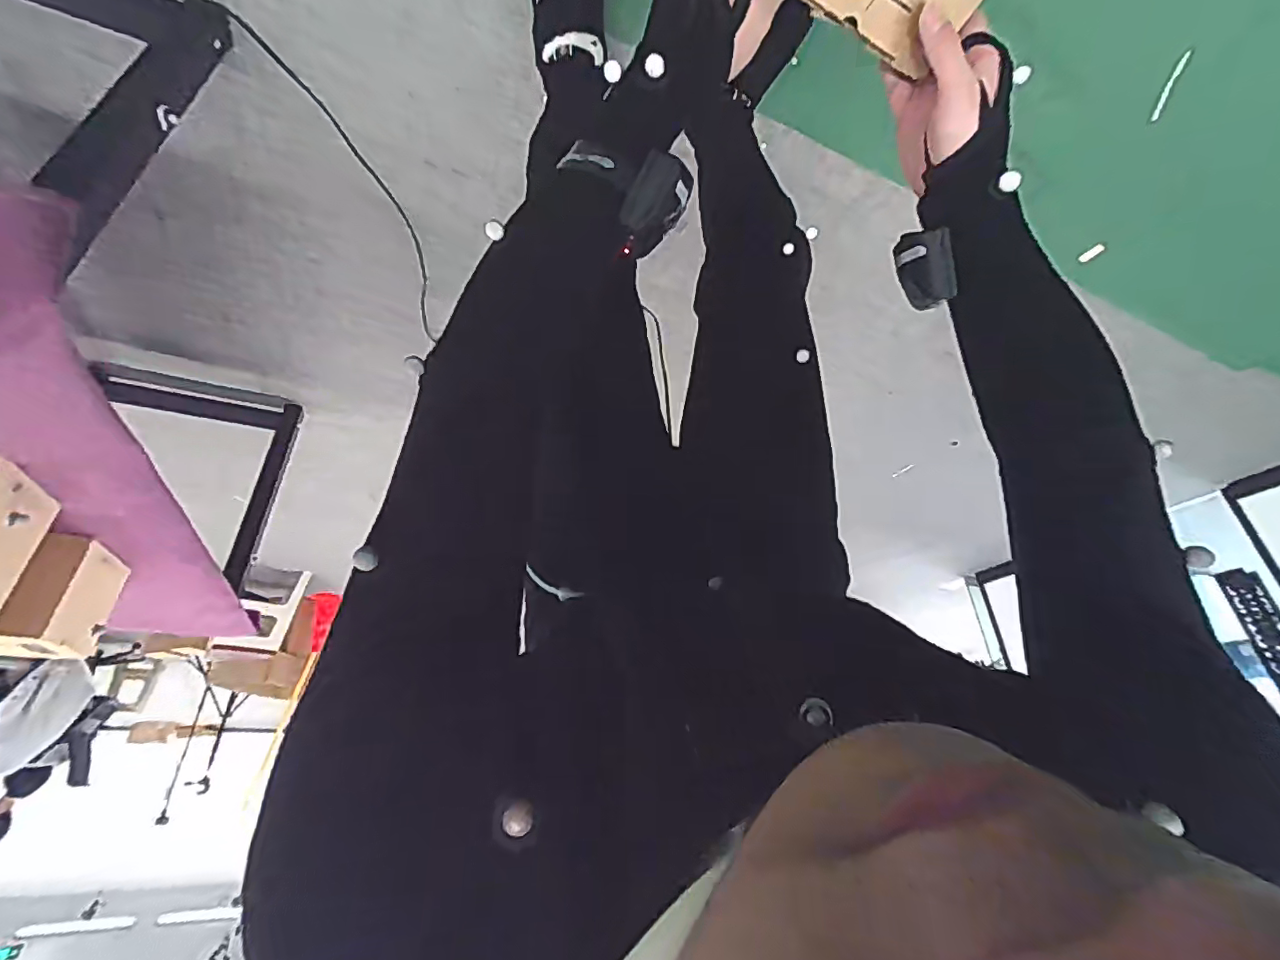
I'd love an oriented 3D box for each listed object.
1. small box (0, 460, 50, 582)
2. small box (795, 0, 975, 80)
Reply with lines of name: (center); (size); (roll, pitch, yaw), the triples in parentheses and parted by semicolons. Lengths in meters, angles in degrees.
small box: (-0.891, 0.058, 0.646); (0.179, 0.176, 0.168); (12, 149, -21)
small box: (0.182, -0.454, 0.393); (0.168, 0.176, 0.179); (10, 143, -26)
